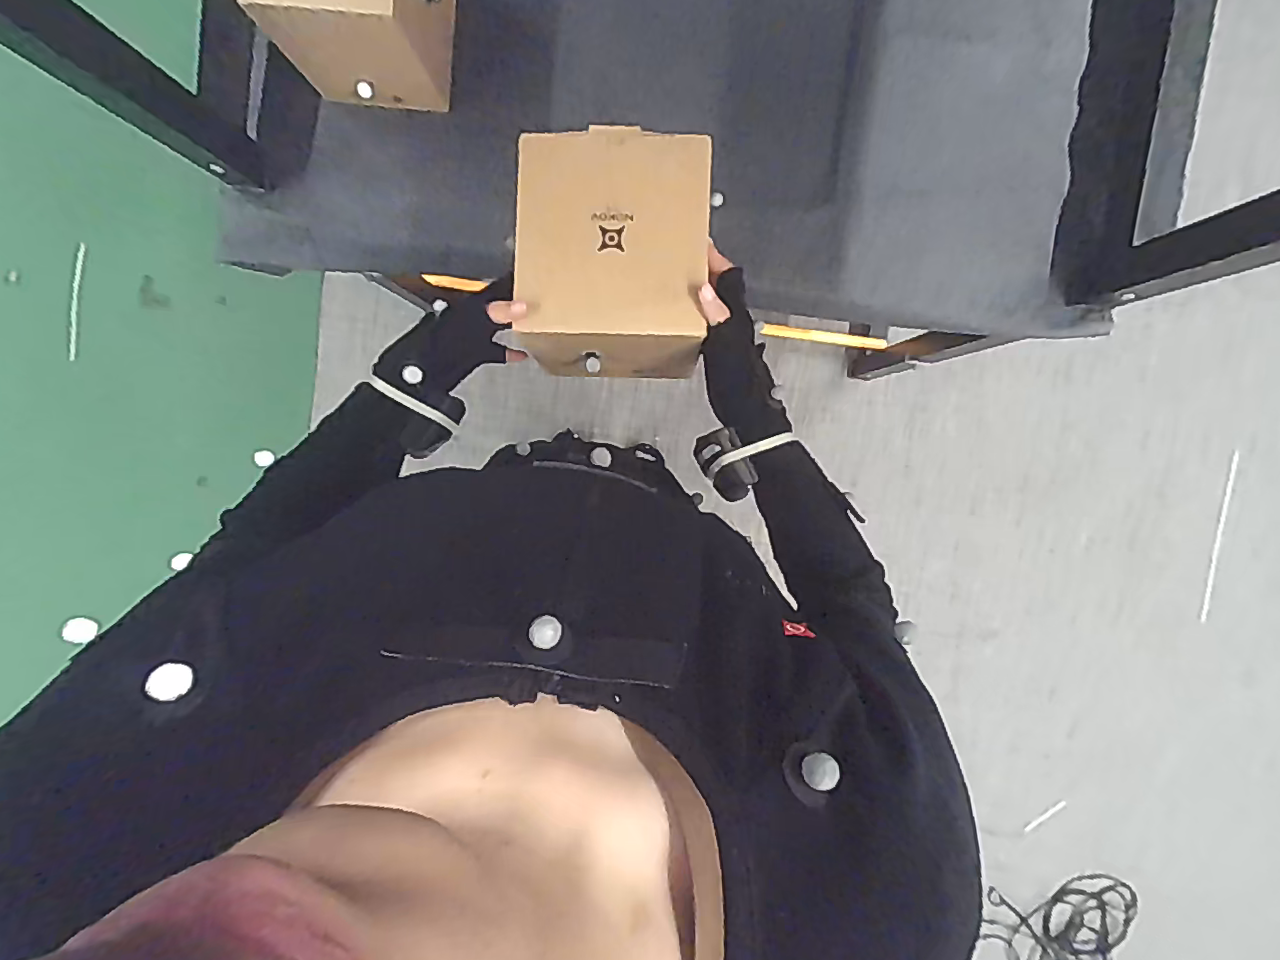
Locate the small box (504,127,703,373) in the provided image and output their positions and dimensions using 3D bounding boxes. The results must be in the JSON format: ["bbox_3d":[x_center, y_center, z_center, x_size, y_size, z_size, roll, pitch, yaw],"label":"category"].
[{"bbox_3d":[-0.027,-0.207,0.532,0.168,0.176,0.179,1,87,2],"label":"small box"}]

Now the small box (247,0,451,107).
[{"bbox_3d":[-0.329,-0.580,0.625,0.168,0.176,0.179,5,95,0],"label":"small box"}]
